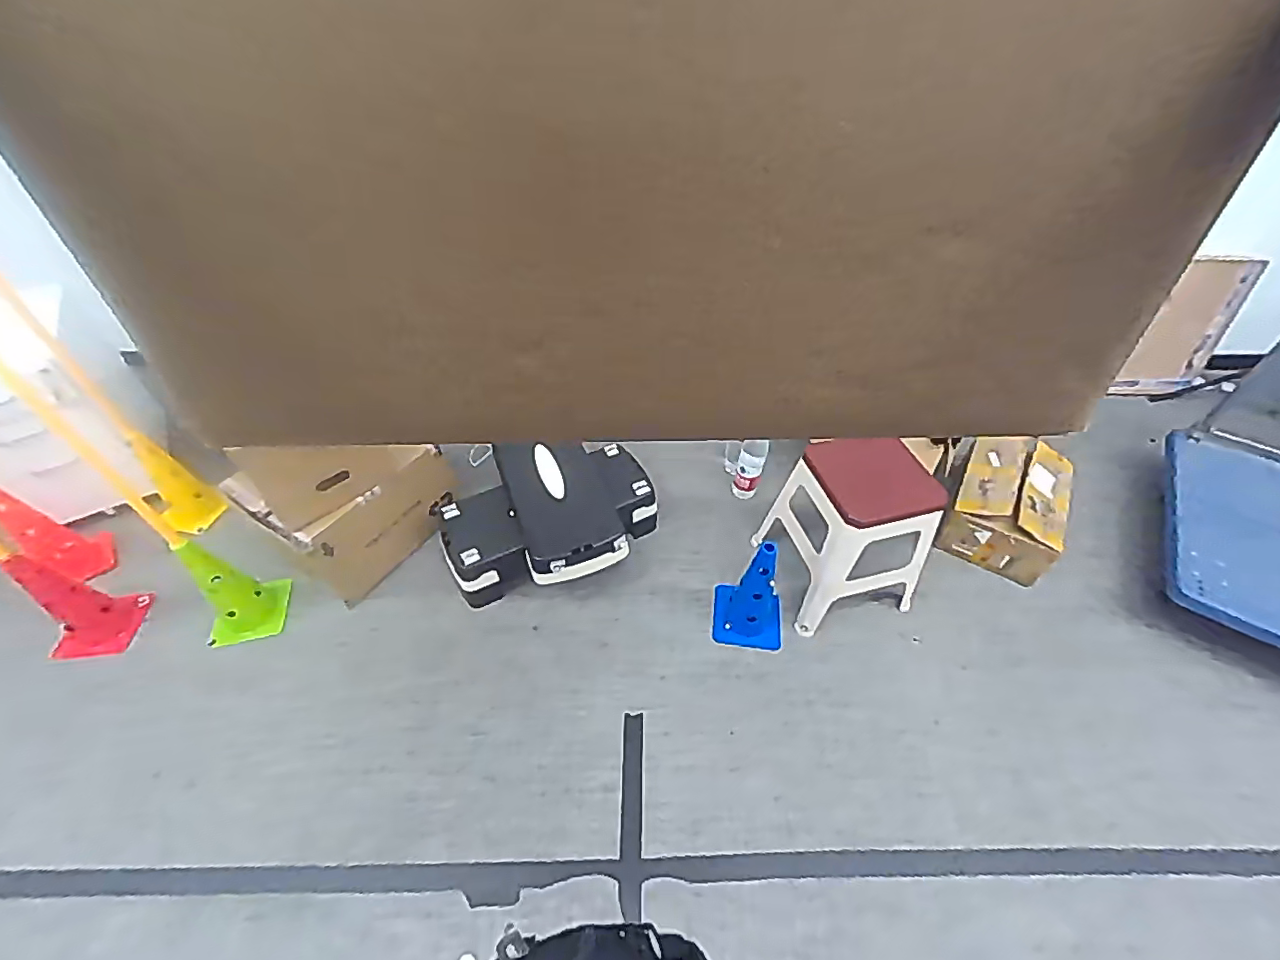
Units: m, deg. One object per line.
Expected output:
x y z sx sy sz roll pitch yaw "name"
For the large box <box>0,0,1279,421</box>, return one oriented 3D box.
-0.002 -0.238 0.269 0.408 0.320 0.320 0 42 0 "large box"
